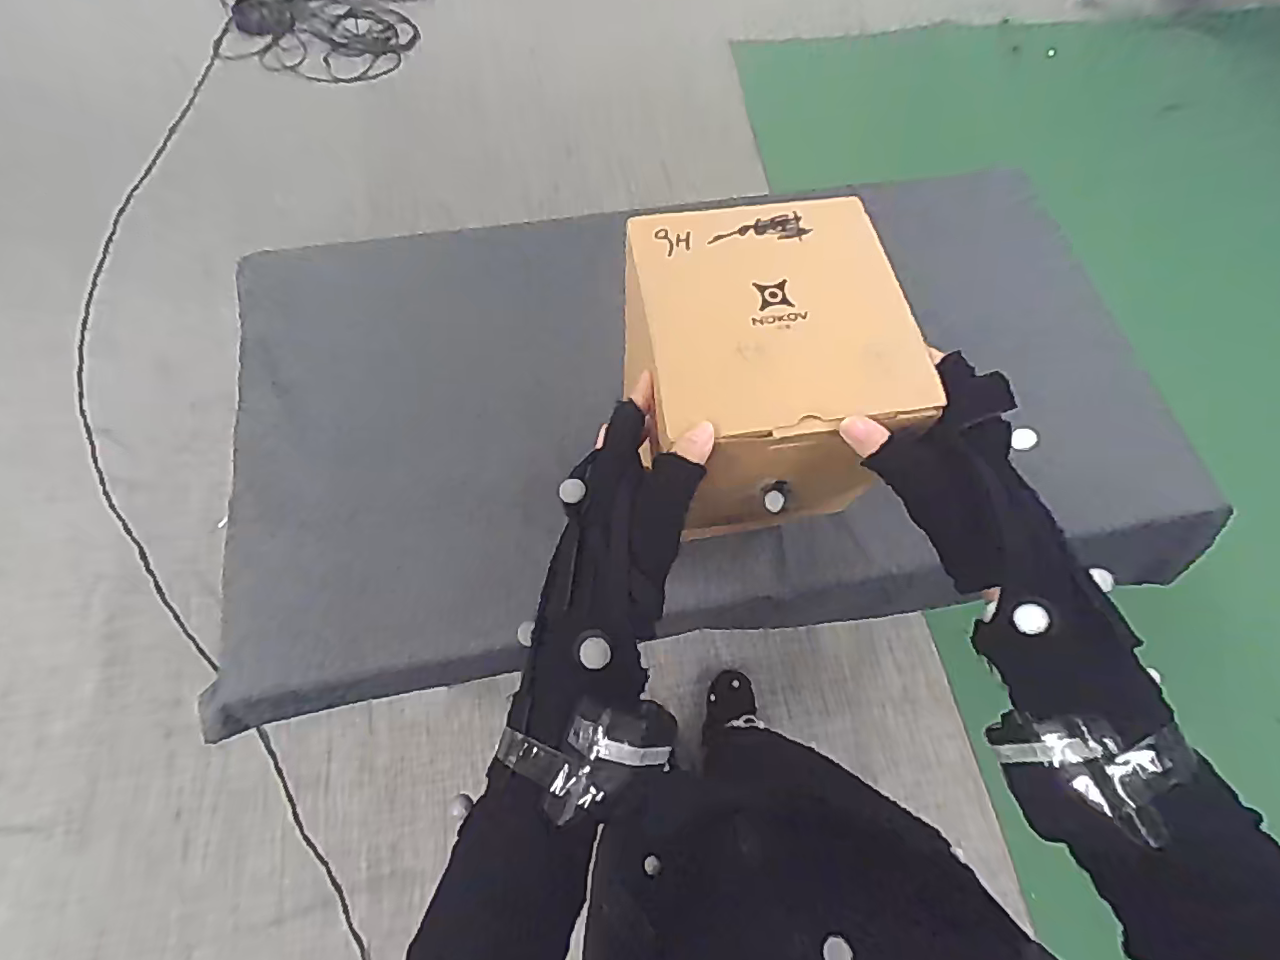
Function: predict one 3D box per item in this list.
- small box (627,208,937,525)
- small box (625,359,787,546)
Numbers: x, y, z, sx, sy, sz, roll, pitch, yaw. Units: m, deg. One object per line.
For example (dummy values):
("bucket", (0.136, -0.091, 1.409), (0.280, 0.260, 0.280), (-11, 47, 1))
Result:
("small box", (0.082, -0.071, 0.416), (0.168, 0.176, 0.179), (-7, 68, -5))
("small box", (0.080, -0.033, 0.602), (0.179, 0.176, 0.168), (-9, 70, -7))
